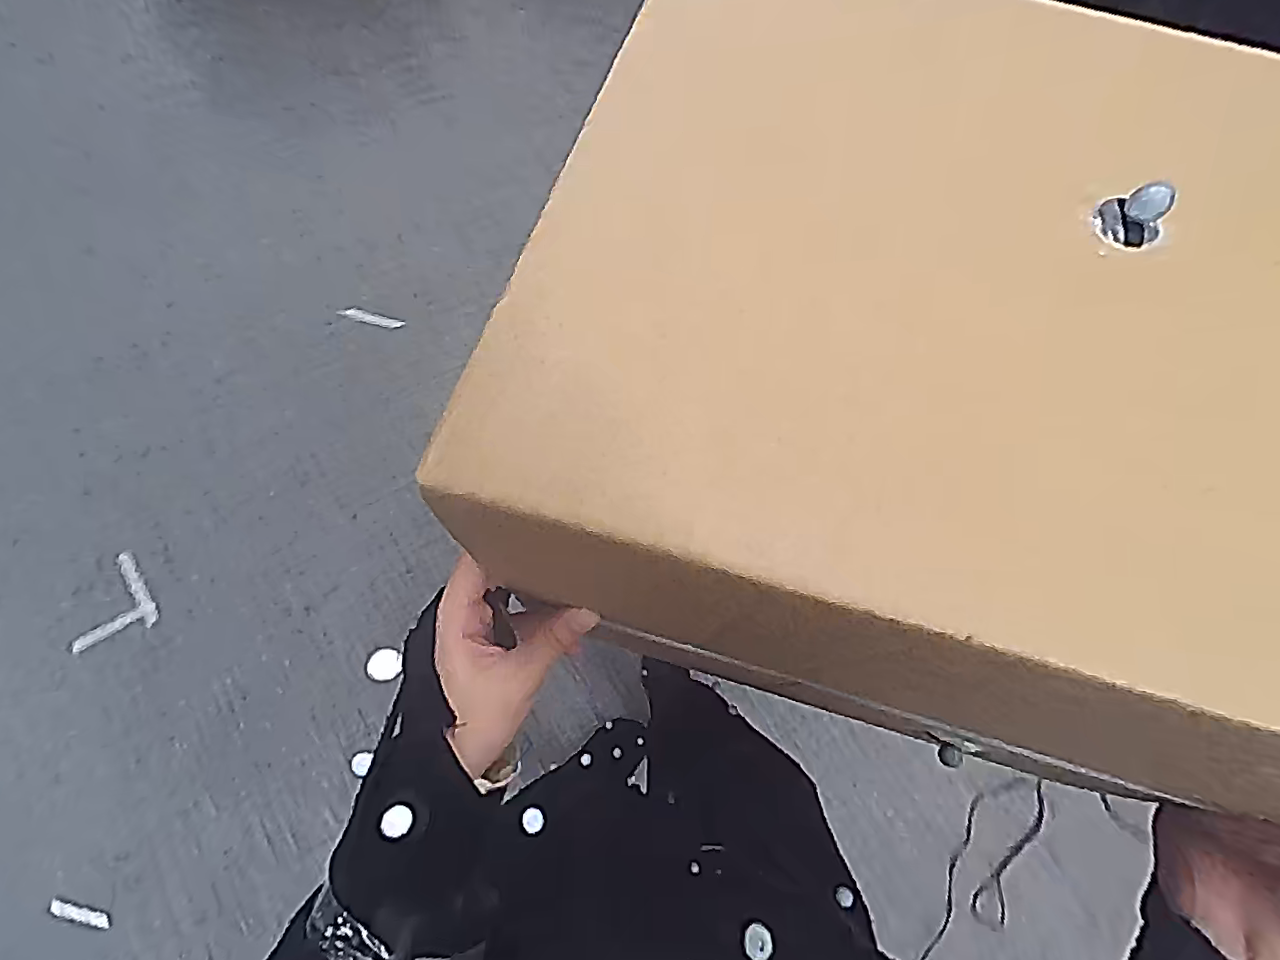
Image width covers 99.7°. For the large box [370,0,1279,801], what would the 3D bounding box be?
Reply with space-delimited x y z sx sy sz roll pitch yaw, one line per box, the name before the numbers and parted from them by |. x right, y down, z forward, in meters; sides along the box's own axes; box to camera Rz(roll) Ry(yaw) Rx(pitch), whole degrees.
large box | 0.142 -0.033 0.332 0.408 0.320 0.320 13 70 3
